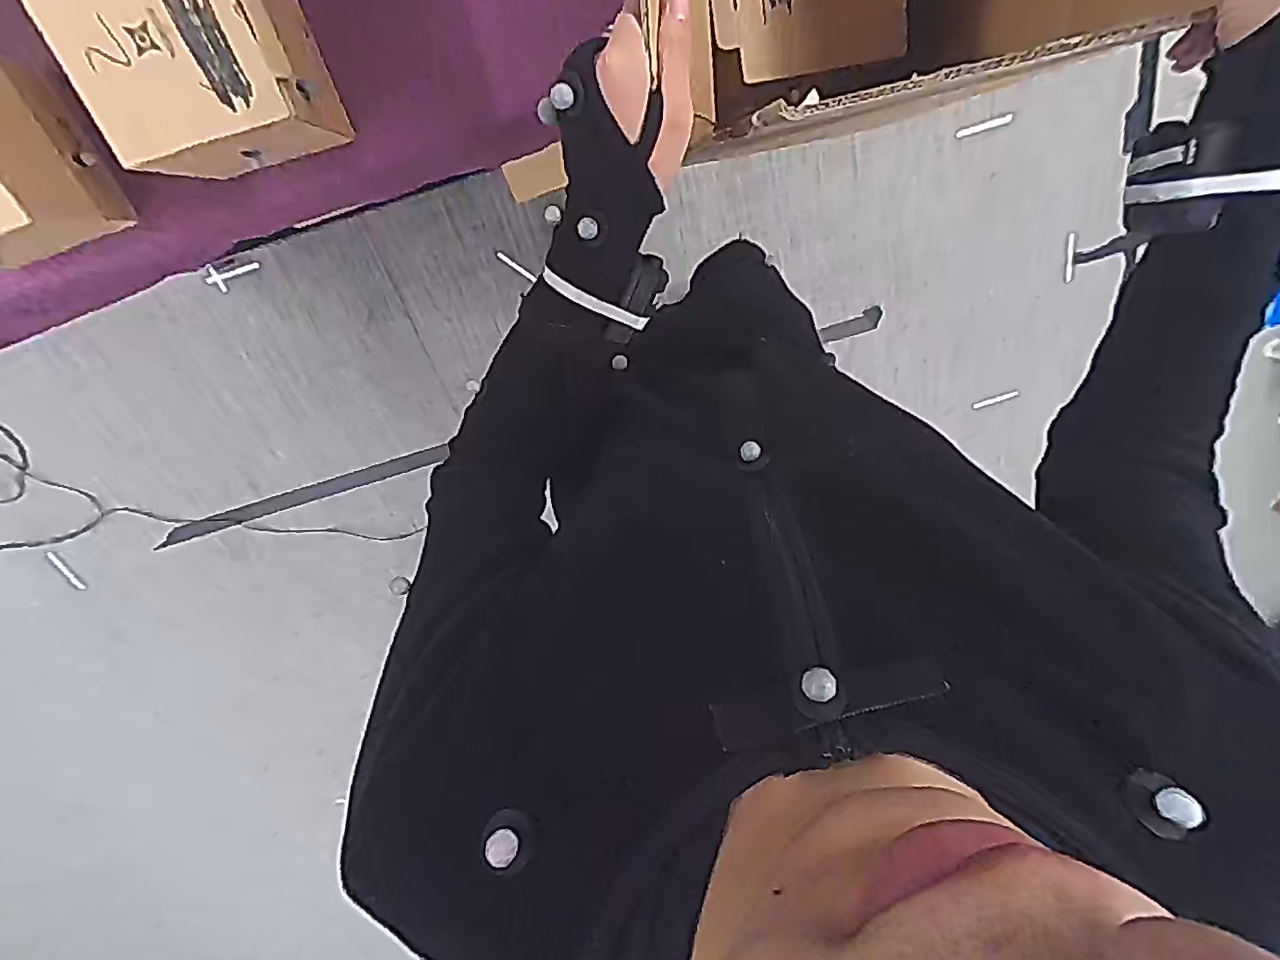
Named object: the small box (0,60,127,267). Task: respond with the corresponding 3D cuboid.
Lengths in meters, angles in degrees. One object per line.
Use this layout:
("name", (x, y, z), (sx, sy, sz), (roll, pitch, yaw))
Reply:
("small box", (-0.706, -0.318, 0.550), (0.179, 0.176, 0.168), (-19, 118, 0))
